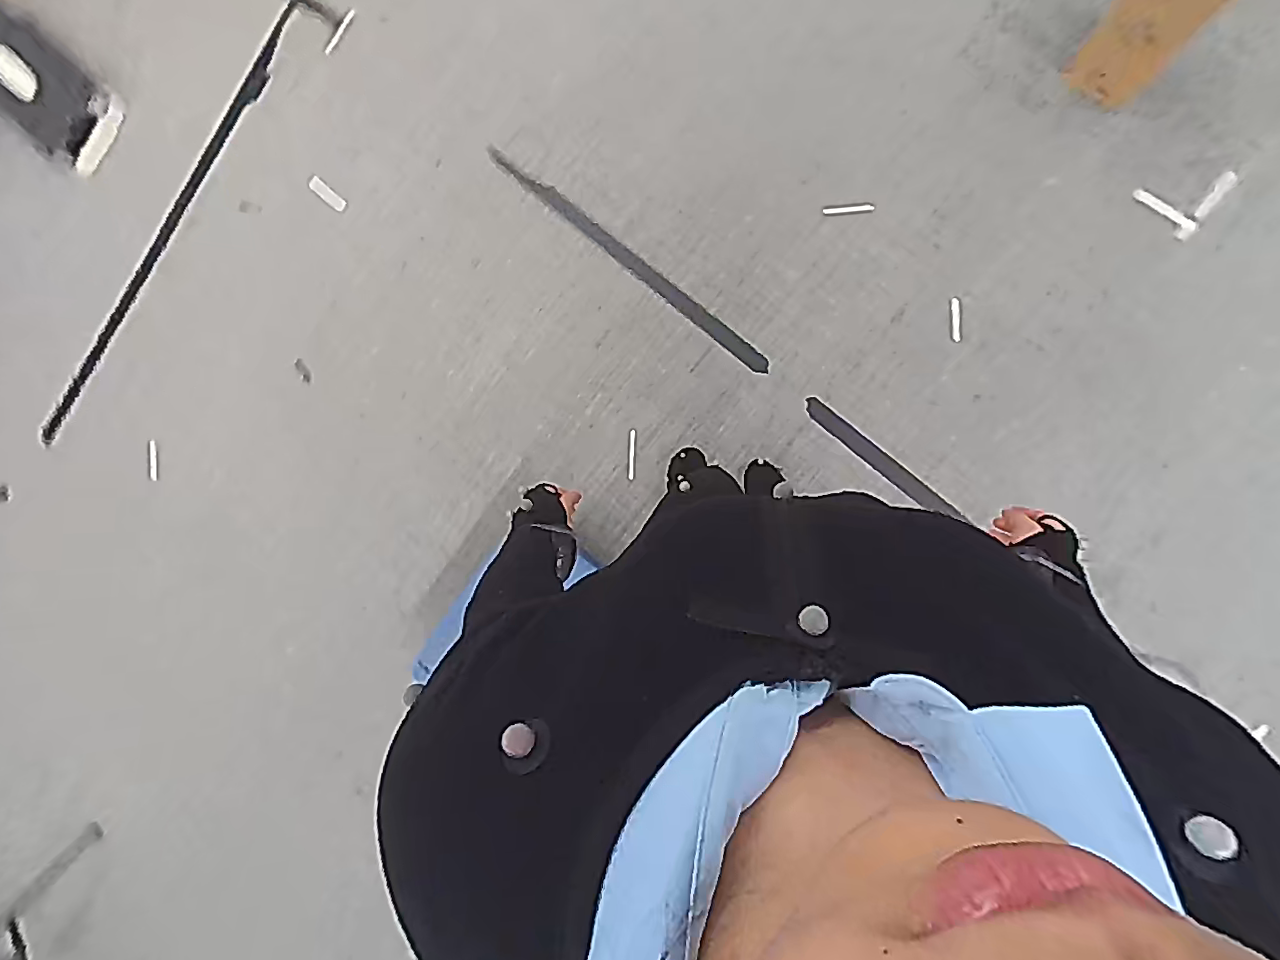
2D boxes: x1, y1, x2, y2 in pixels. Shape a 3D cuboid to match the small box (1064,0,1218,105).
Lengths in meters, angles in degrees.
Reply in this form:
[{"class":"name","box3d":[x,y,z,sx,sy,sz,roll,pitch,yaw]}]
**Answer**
[{"class":"small box","box3d":[1.118,-1.008,1.215,0.168,0.176,0.179,38,98,7]}]
